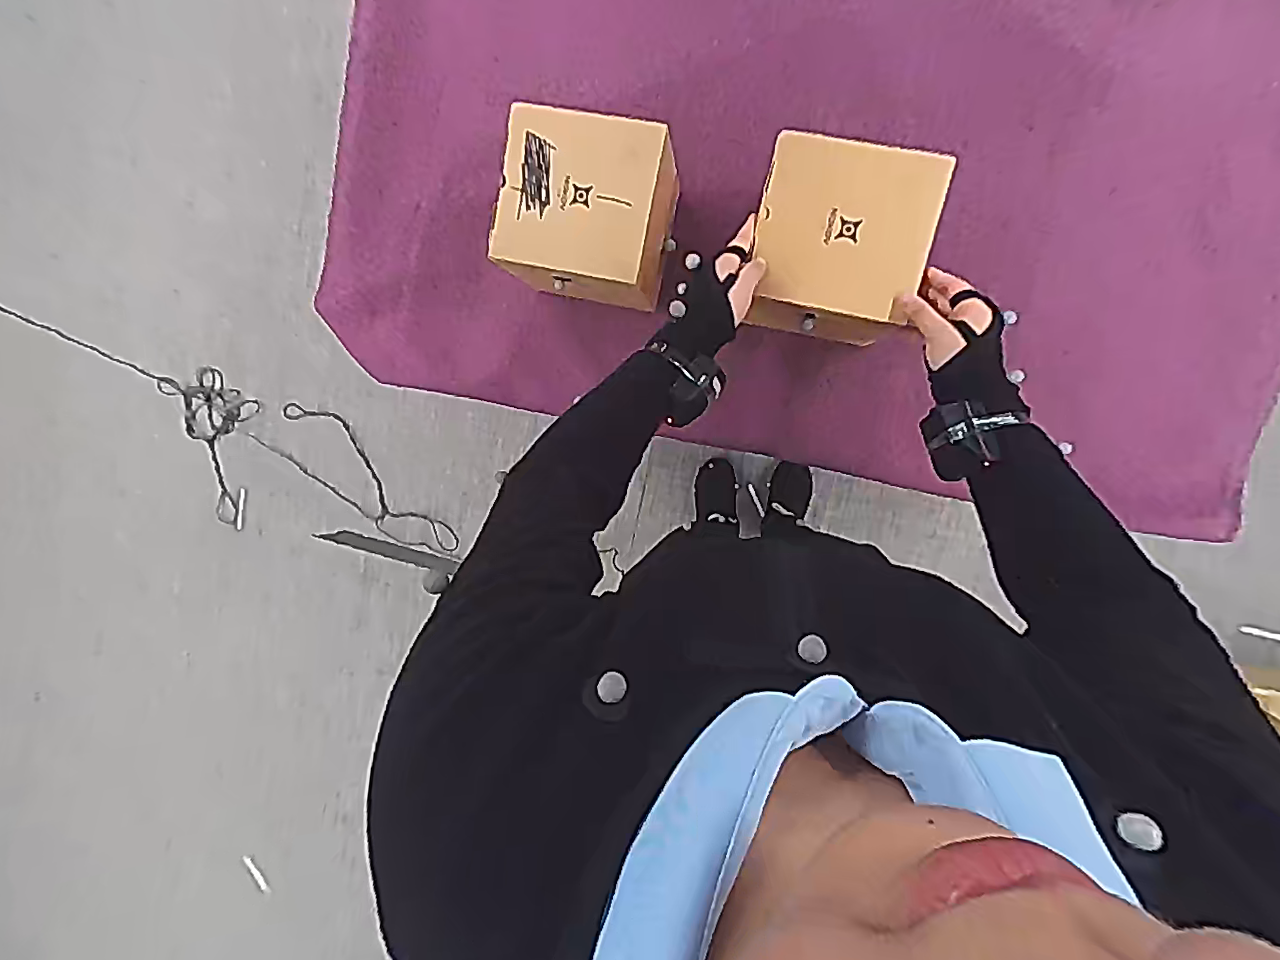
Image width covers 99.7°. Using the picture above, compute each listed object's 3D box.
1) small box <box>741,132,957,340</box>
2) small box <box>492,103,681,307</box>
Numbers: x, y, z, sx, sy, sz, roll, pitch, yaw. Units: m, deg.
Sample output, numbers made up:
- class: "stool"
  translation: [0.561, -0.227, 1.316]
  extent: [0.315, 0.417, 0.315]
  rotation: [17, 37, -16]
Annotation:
- class: "small box"
  translation: [0.223, -0.266, 0.629]
  extent: [0.179, 0.176, 0.168]
  rotation: [14, 99, 8]
- class: "small box"
  translation: [-0.055, -0.321, 0.665]
  extent: [0.179, 0.176, 0.168]
  rotation: [13, 99, 7]
